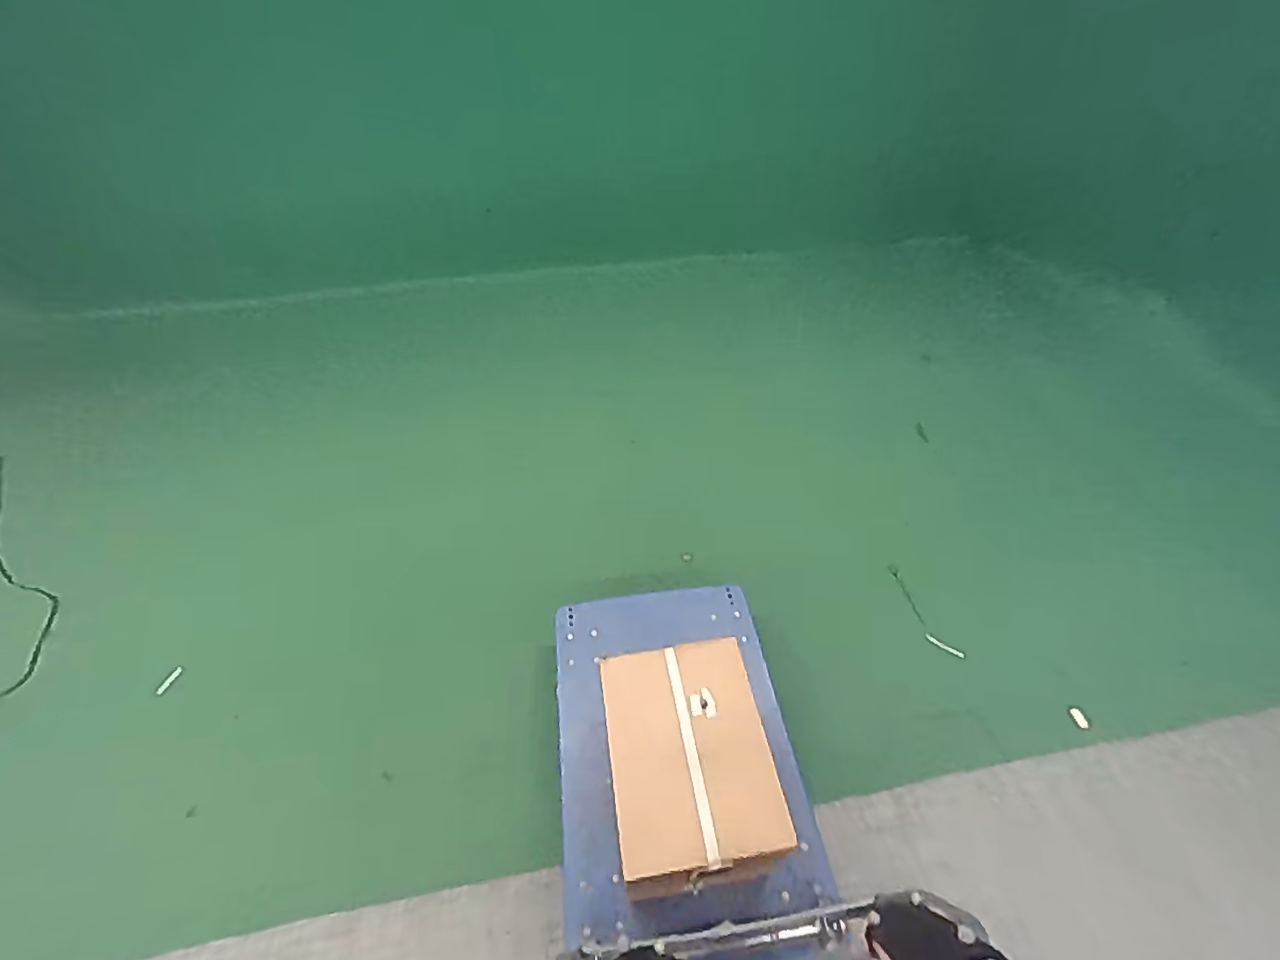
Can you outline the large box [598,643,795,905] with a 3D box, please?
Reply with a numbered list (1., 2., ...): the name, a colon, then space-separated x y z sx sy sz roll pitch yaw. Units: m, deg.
1. large box: 0.098 0.635 1.183 0.320 0.320 0.408 -8 47 -6
